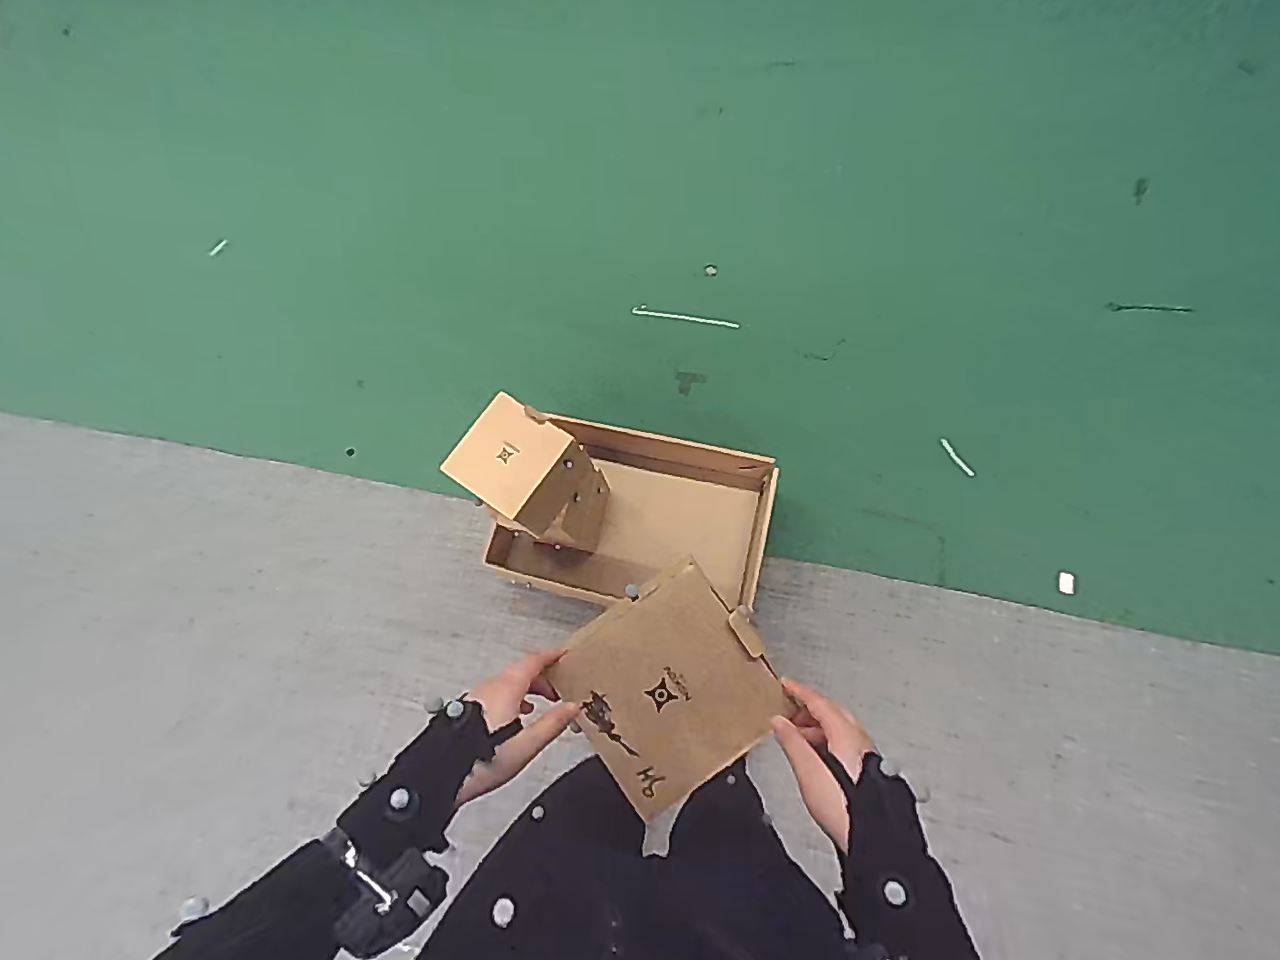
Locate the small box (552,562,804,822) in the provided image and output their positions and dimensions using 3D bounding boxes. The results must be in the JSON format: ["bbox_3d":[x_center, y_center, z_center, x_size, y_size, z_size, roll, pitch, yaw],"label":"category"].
[{"bbox_3d":[0.035,0.198,0.568,0.179,0.176,0.168,-36,83,-2],"label":"small box"}]

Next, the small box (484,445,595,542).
[{"bbox_3d":[-0.201,0.023,1.140,0.168,0.176,0.179,11,73,8],"label":"small box"}]

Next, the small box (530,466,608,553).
[{"bbox_3d":[-0.178,0.063,1.297,0.168,0.176,0.179,10,73,8],"label":"small box"}]

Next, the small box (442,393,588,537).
[{"bbox_3d":[-0.214,-0.018,0.983,0.168,0.176,0.179,33,78,14],"label":"small box"}]
